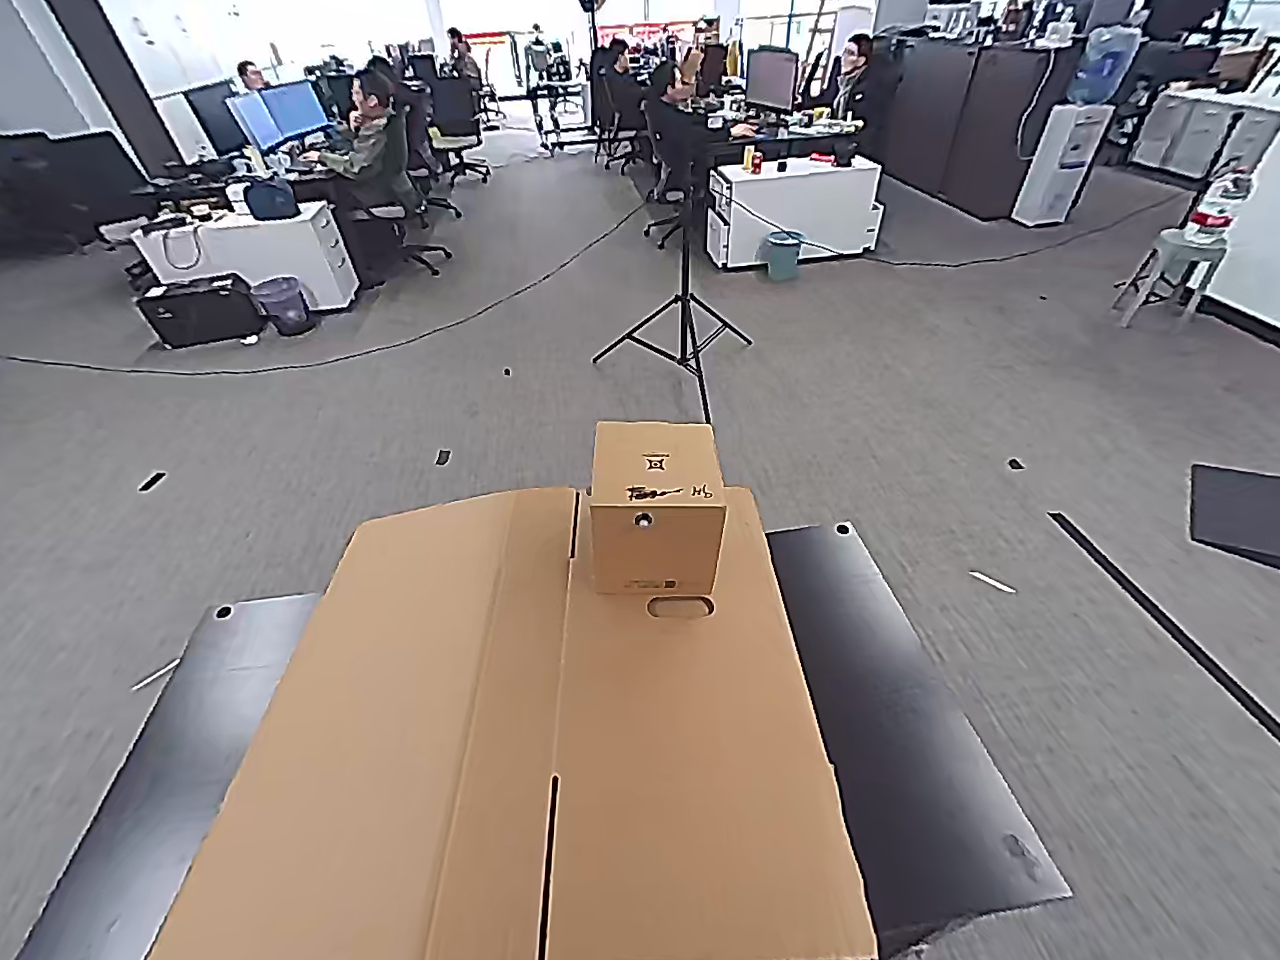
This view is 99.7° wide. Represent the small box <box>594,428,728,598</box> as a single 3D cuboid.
[{"bbox_3d":[0.023,0.044,0.762,0.168,0.176,0.179,0,39,-1],"label":"small box"}]
